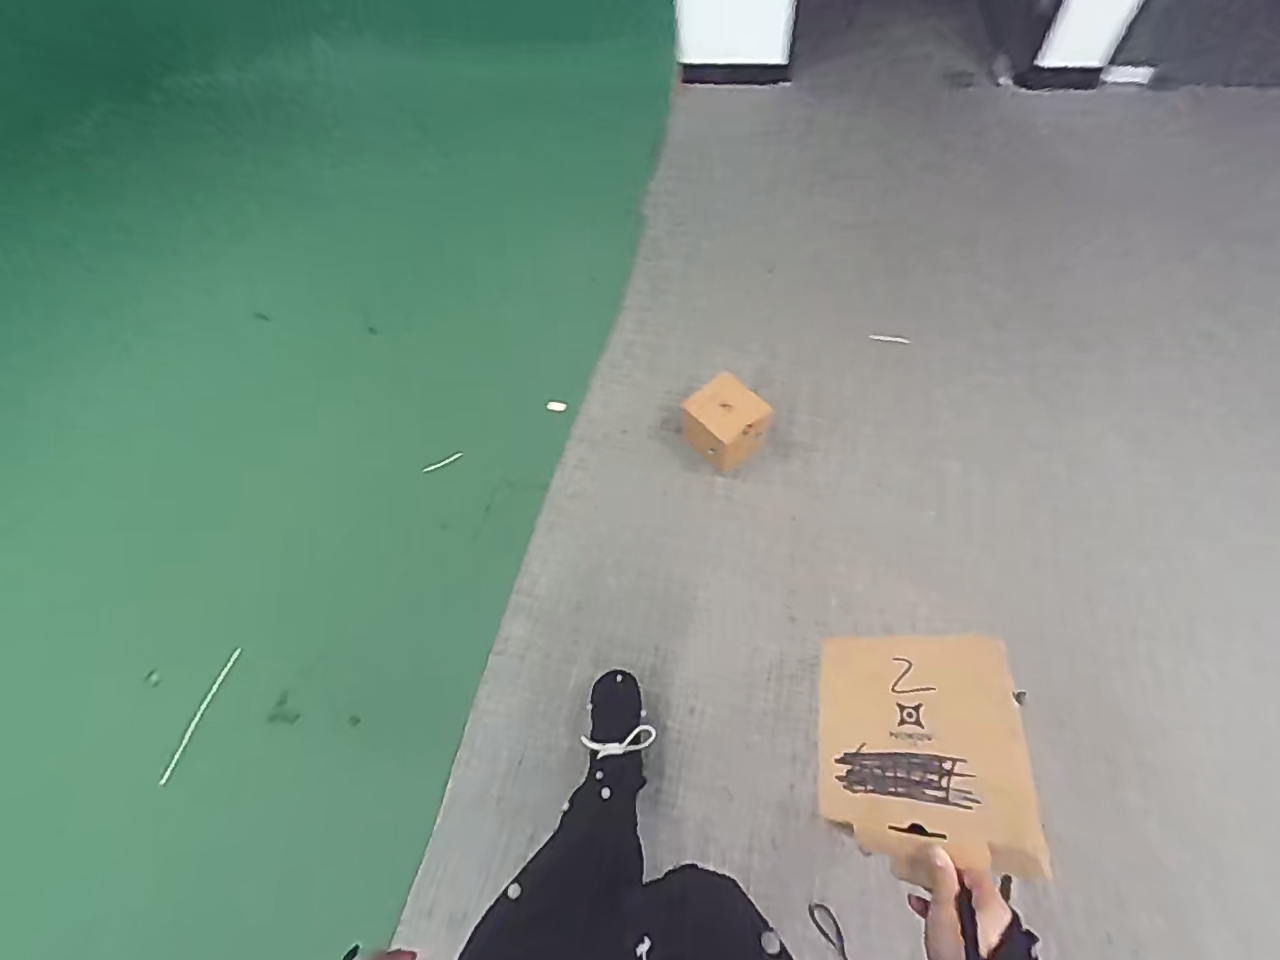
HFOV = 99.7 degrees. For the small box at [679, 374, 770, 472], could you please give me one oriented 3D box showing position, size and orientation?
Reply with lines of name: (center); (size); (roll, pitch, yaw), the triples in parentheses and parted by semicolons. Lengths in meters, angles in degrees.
small box: (0.225, -0.144, 1.458); (0.168, 0.176, 0.179); (-38, 63, -16)
